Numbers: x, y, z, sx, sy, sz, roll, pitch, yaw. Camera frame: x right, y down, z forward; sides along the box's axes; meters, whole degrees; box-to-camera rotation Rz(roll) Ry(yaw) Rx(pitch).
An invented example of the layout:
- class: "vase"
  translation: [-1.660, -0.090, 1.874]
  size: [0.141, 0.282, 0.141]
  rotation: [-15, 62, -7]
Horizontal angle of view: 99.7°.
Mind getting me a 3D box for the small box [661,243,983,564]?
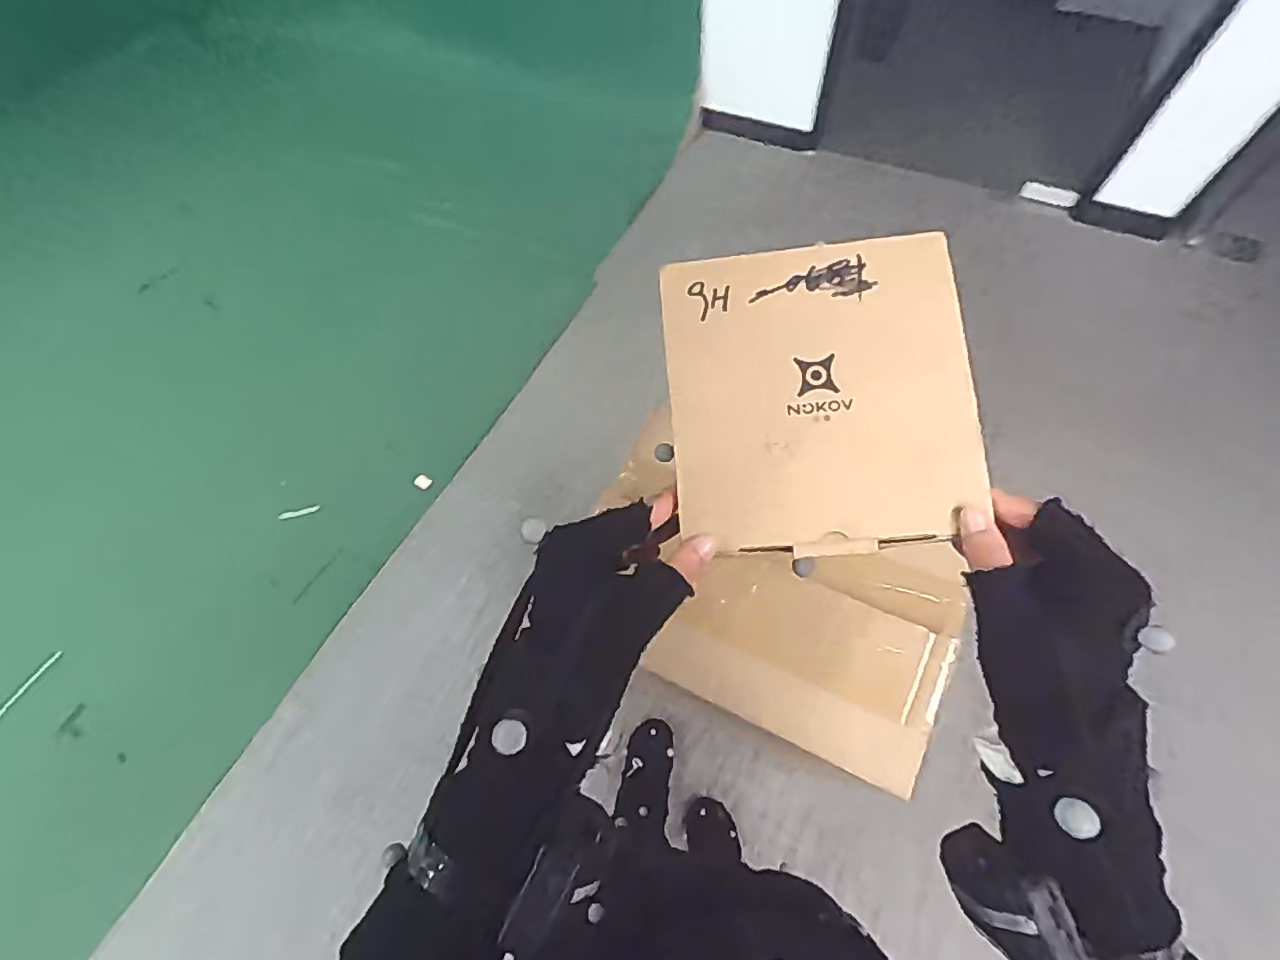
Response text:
- class: "small box"
  translation: [0.107, -0.036, 0.389]
  size: [0.168, 0.176, 0.179]
  rotation: [-6, 82, 4]
